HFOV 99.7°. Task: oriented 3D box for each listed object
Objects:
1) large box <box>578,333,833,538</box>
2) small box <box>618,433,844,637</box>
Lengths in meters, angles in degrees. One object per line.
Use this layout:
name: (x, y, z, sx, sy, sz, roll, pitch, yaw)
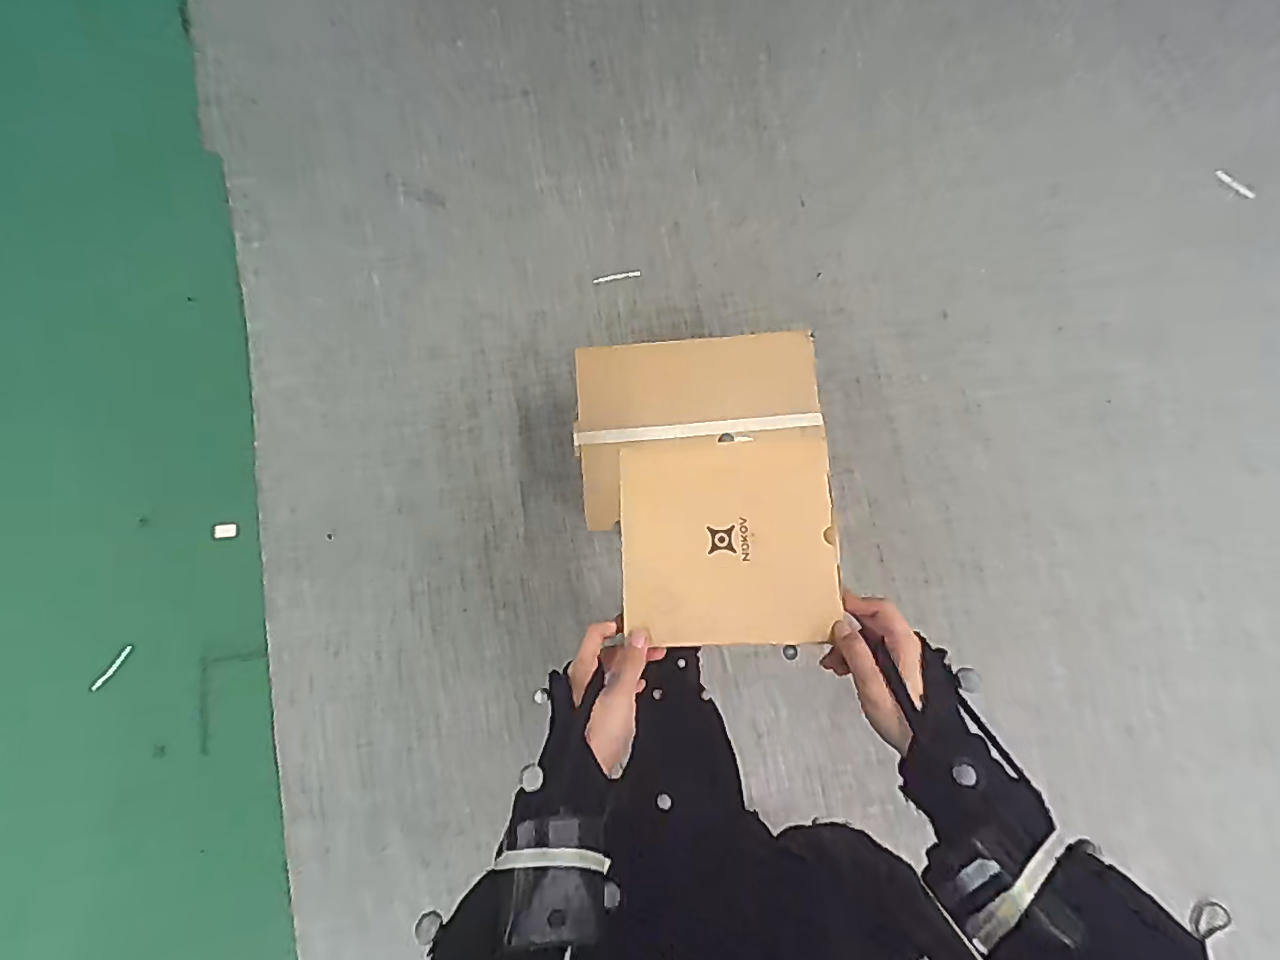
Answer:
large box: (0.104, -0.062, 1.041, 0.408, 0.320, 0.320, -4, 84, 0)
small box: (0.077, 0.060, 0.518, 0.179, 0.176, 0.168, -3, 78, 4)
